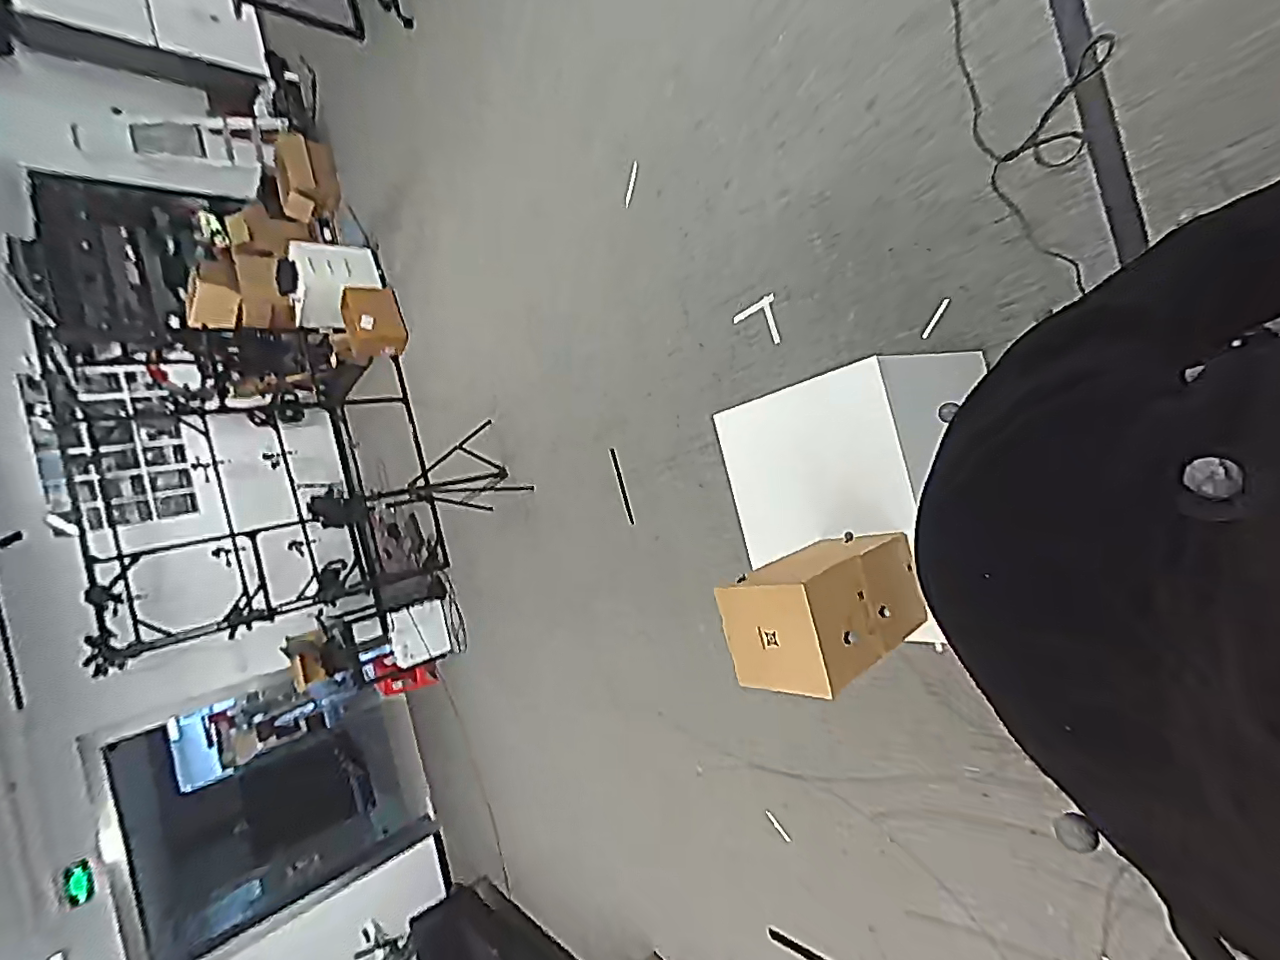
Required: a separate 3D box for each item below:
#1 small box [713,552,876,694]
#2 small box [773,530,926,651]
[{"bbox_3d":[0.251,0.218,0.860,0.179,0.176,0.168,-17,87,51],"label":"small box"},{"bbox_3d":[0.373,0.190,0.966,0.179,0.176,0.168,-15,88,51],"label":"small box"}]
